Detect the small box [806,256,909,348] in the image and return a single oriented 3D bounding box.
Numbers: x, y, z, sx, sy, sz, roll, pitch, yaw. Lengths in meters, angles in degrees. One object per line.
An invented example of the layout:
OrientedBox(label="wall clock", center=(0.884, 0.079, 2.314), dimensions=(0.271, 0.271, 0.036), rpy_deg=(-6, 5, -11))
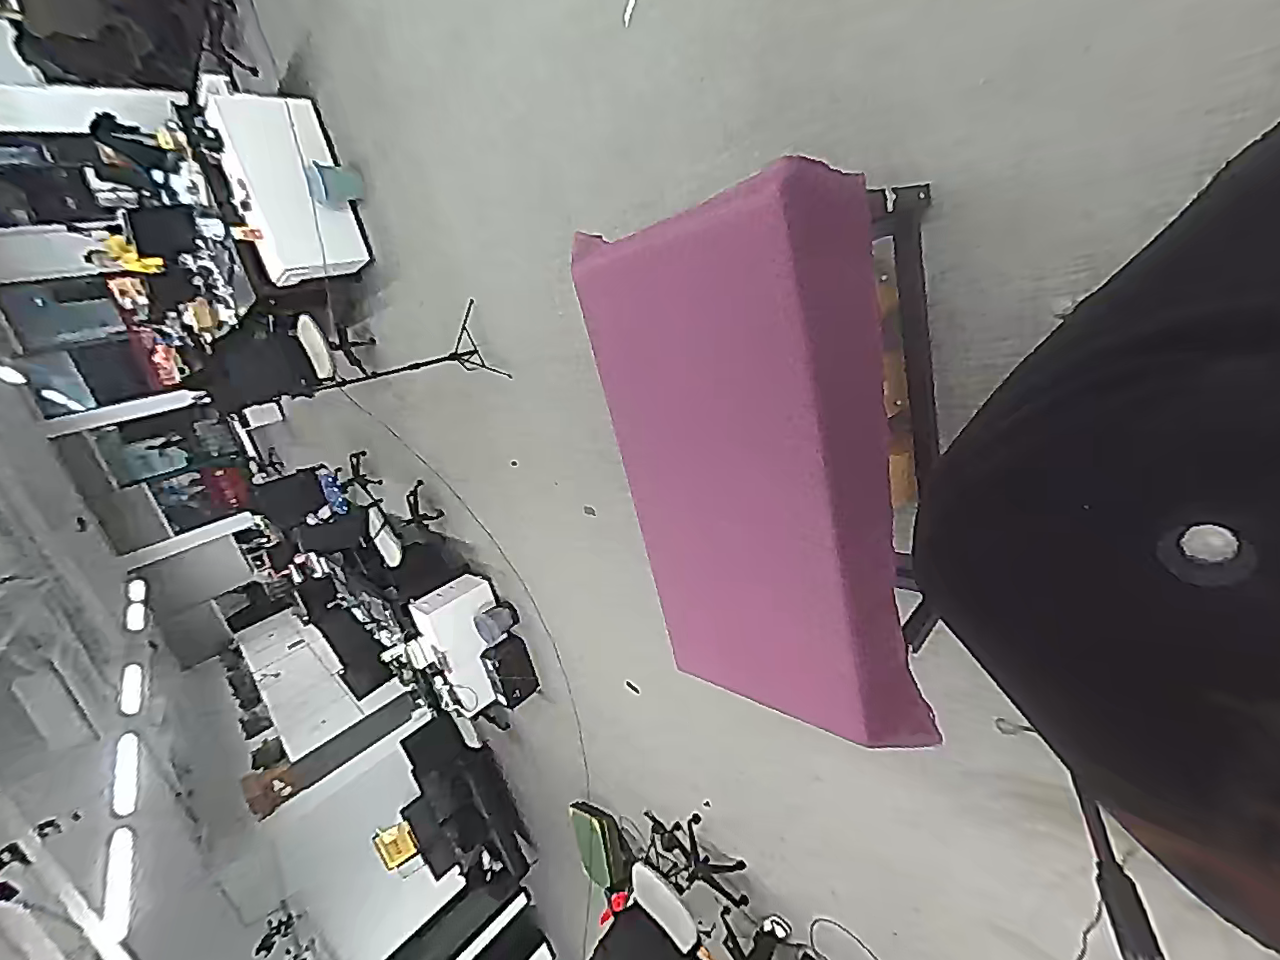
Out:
OrientedBox(label="small box", center=(0.618, -0.506, 1.533), dimensions=(0.168, 0.176, 0.179), rpy_deg=(57, 143, 6))
